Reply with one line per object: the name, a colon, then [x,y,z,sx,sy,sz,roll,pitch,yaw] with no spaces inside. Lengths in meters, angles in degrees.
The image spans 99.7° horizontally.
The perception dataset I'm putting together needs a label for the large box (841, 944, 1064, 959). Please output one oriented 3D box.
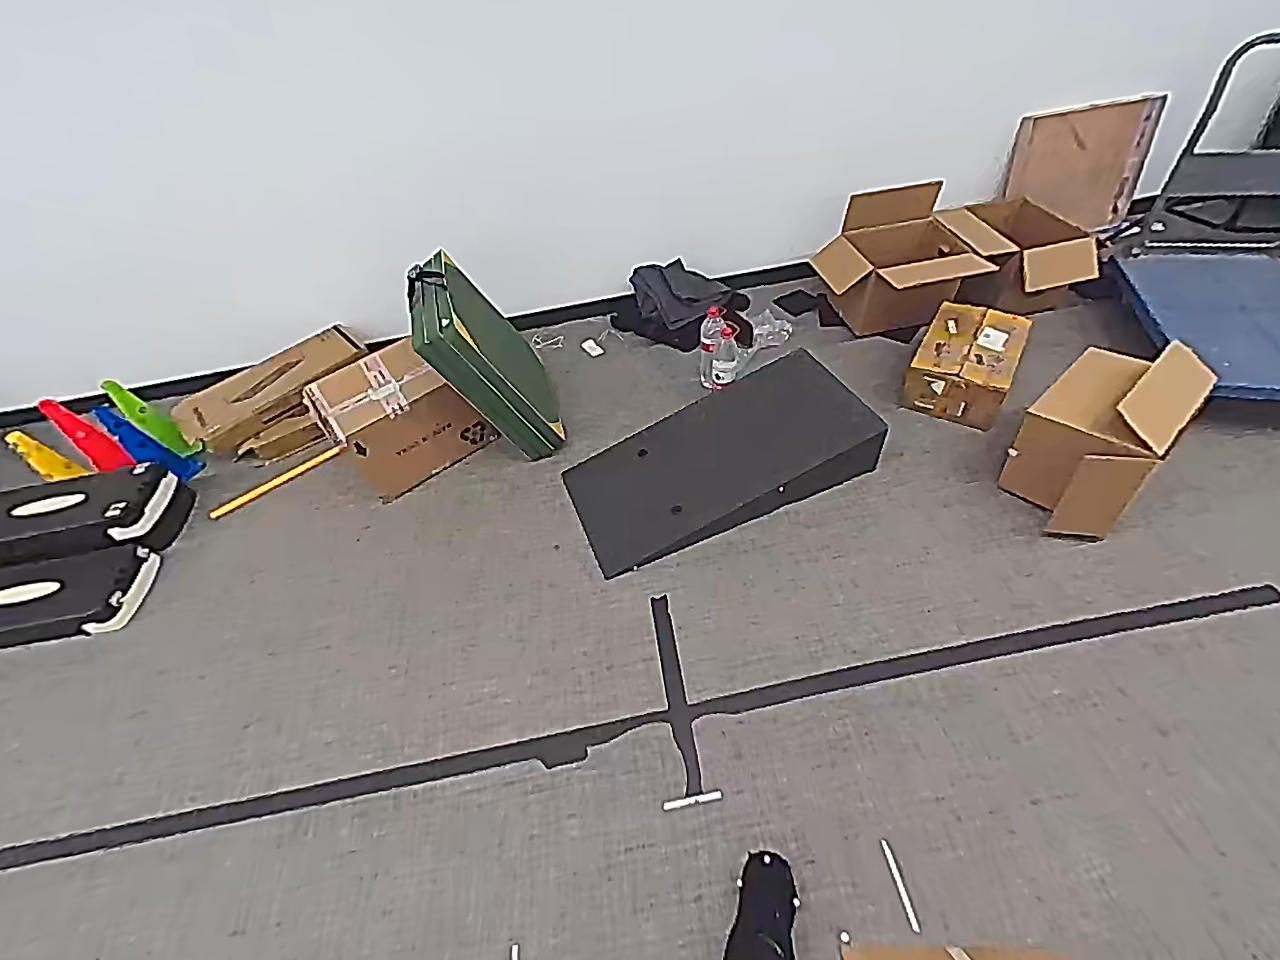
large box: [0.434,0.774,0.549,0.320,0.408,0.320,-1,76,4]
